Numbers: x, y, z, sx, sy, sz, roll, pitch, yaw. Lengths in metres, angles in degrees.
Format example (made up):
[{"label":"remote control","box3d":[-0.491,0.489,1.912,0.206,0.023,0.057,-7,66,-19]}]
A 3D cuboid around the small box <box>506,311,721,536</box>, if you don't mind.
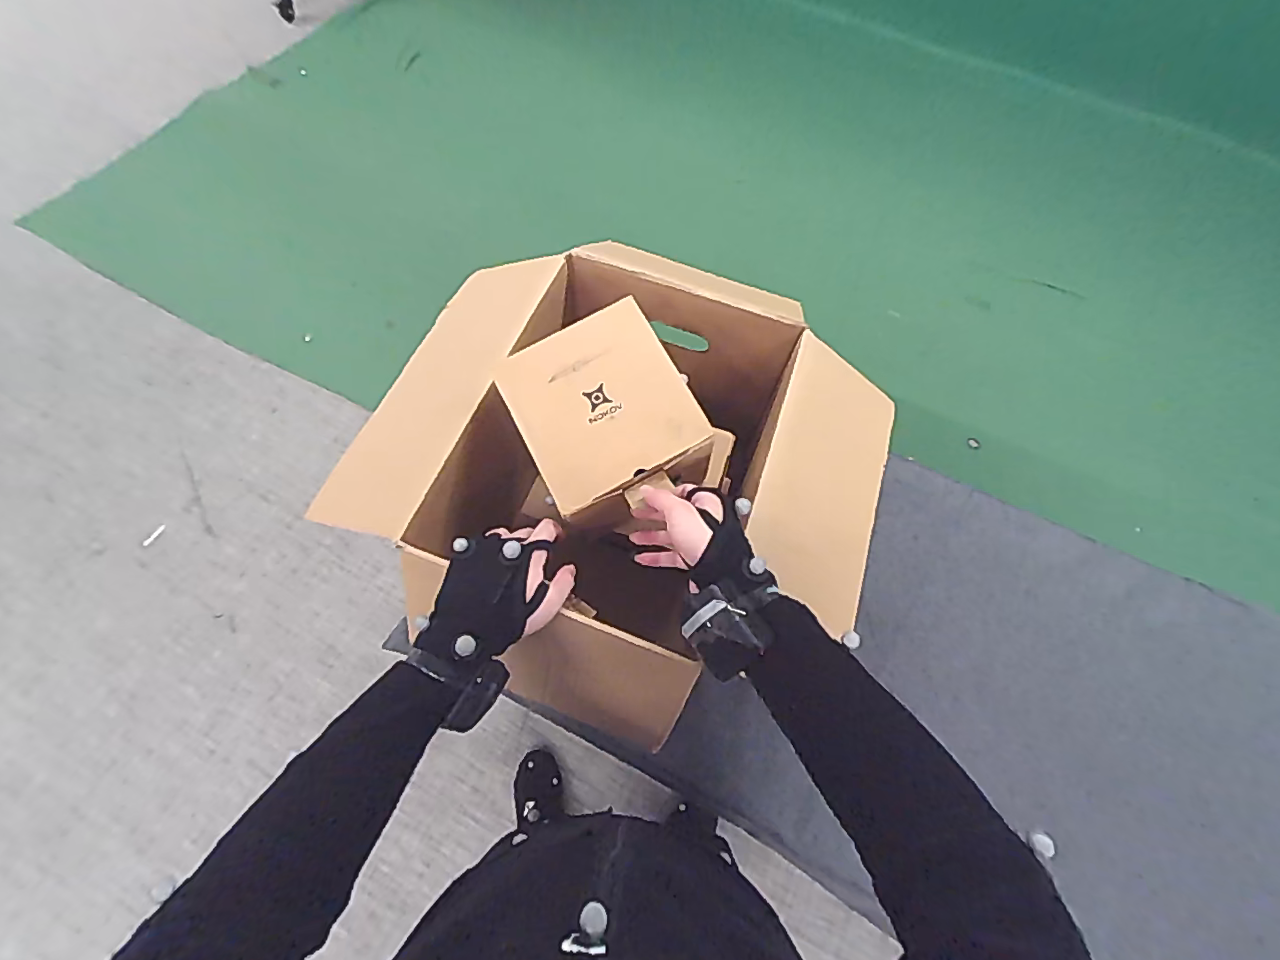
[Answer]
[{"label":"small box","box3d":[-0.024,-0.048,0.613,0.168,0.176,0.179,-27,74,-5]}]
